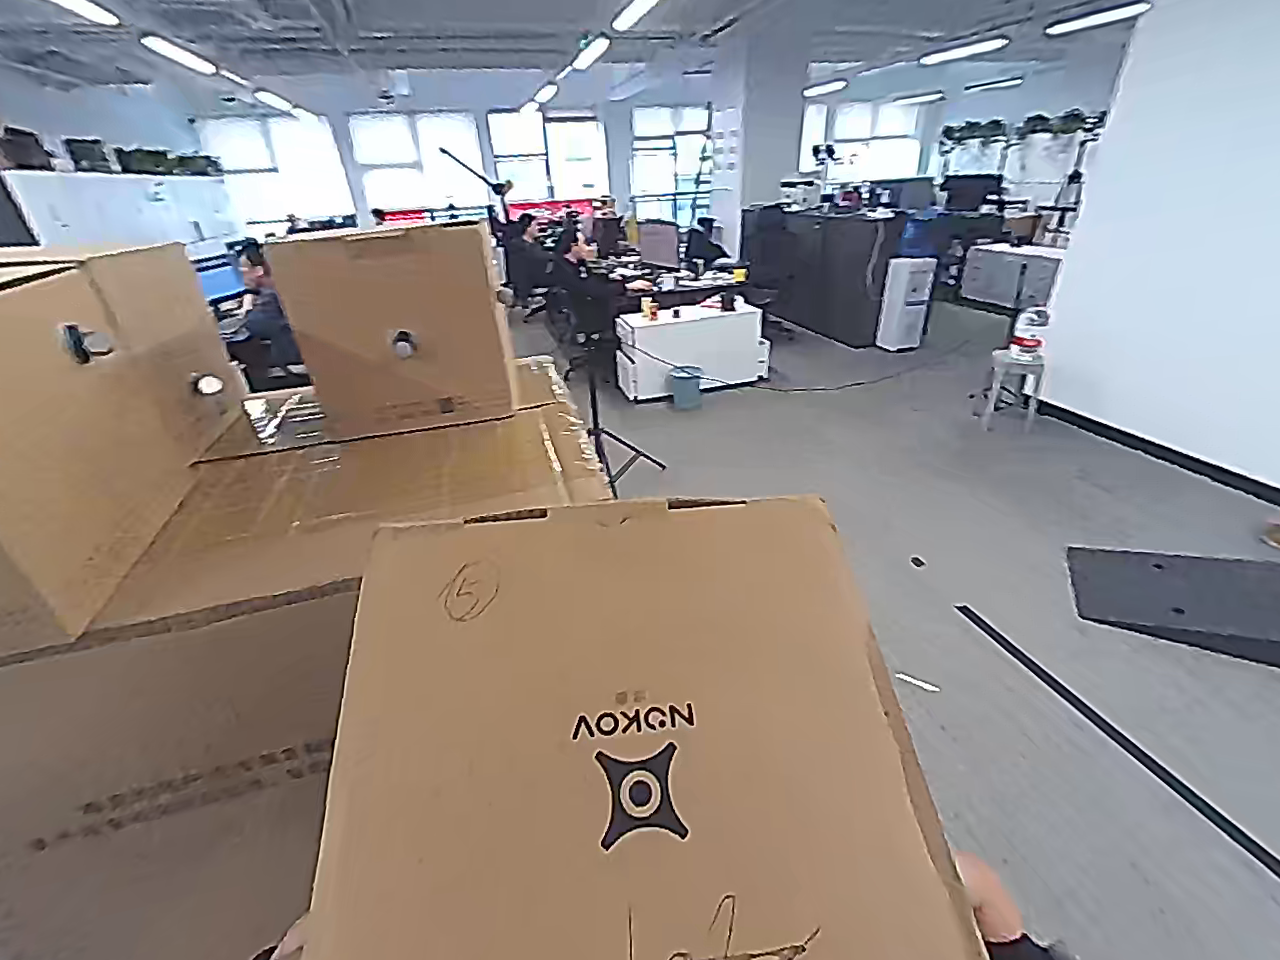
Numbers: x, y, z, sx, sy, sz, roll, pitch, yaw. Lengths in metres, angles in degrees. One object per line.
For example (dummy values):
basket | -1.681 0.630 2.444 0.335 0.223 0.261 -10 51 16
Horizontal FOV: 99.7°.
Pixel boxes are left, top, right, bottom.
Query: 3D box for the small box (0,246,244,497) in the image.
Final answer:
small box | -0.487 -0.097 0.458 0.179 0.176 0.168 -10 29 -14
